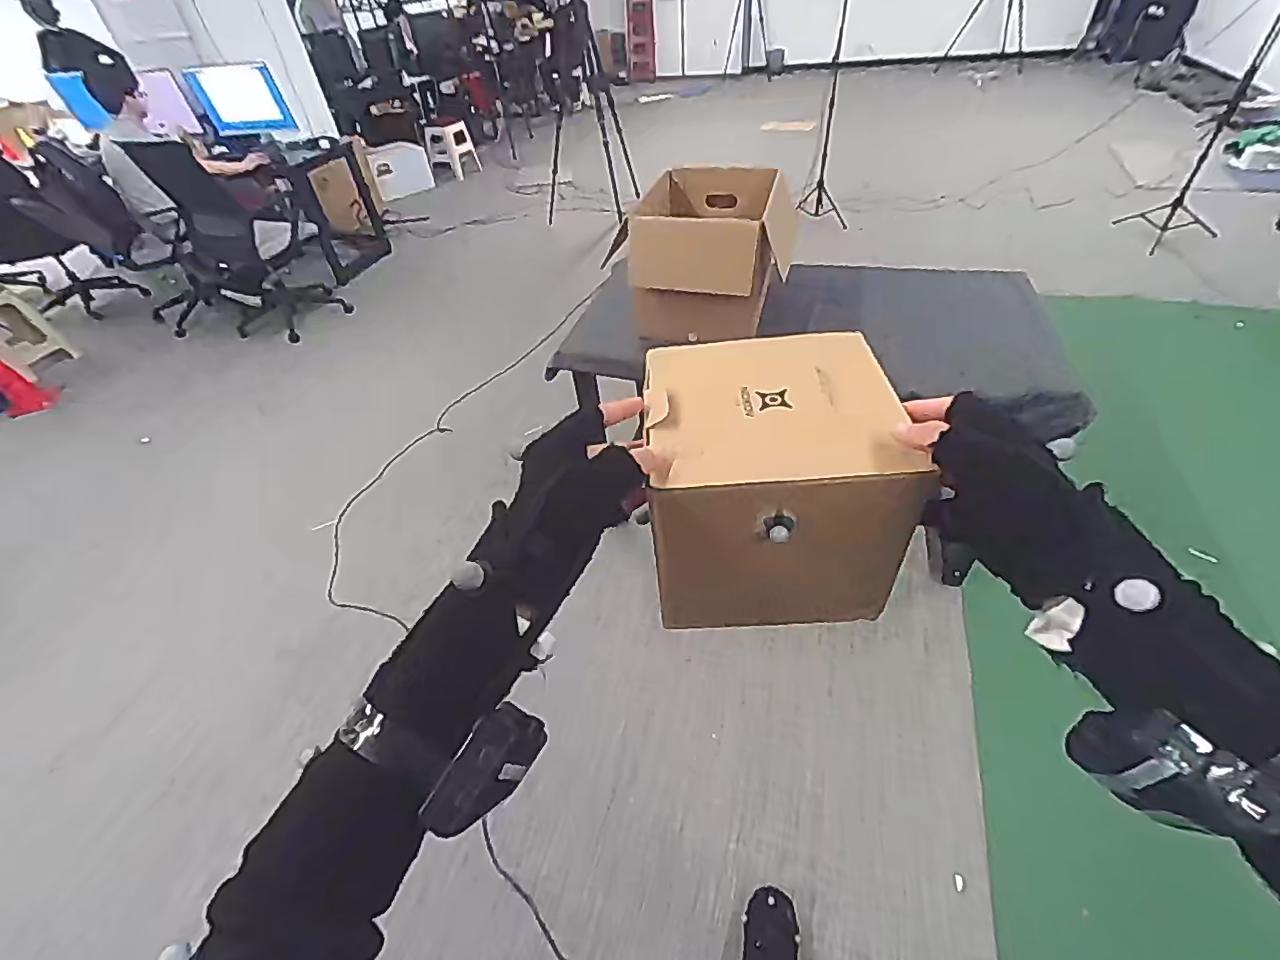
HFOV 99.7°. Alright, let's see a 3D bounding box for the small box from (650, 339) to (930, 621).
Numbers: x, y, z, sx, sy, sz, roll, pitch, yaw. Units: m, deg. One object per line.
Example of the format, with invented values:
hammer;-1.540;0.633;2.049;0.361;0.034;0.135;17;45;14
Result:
small box;0.102;0.003;0.448;0.179;0.176;0.168;-3;44;3
